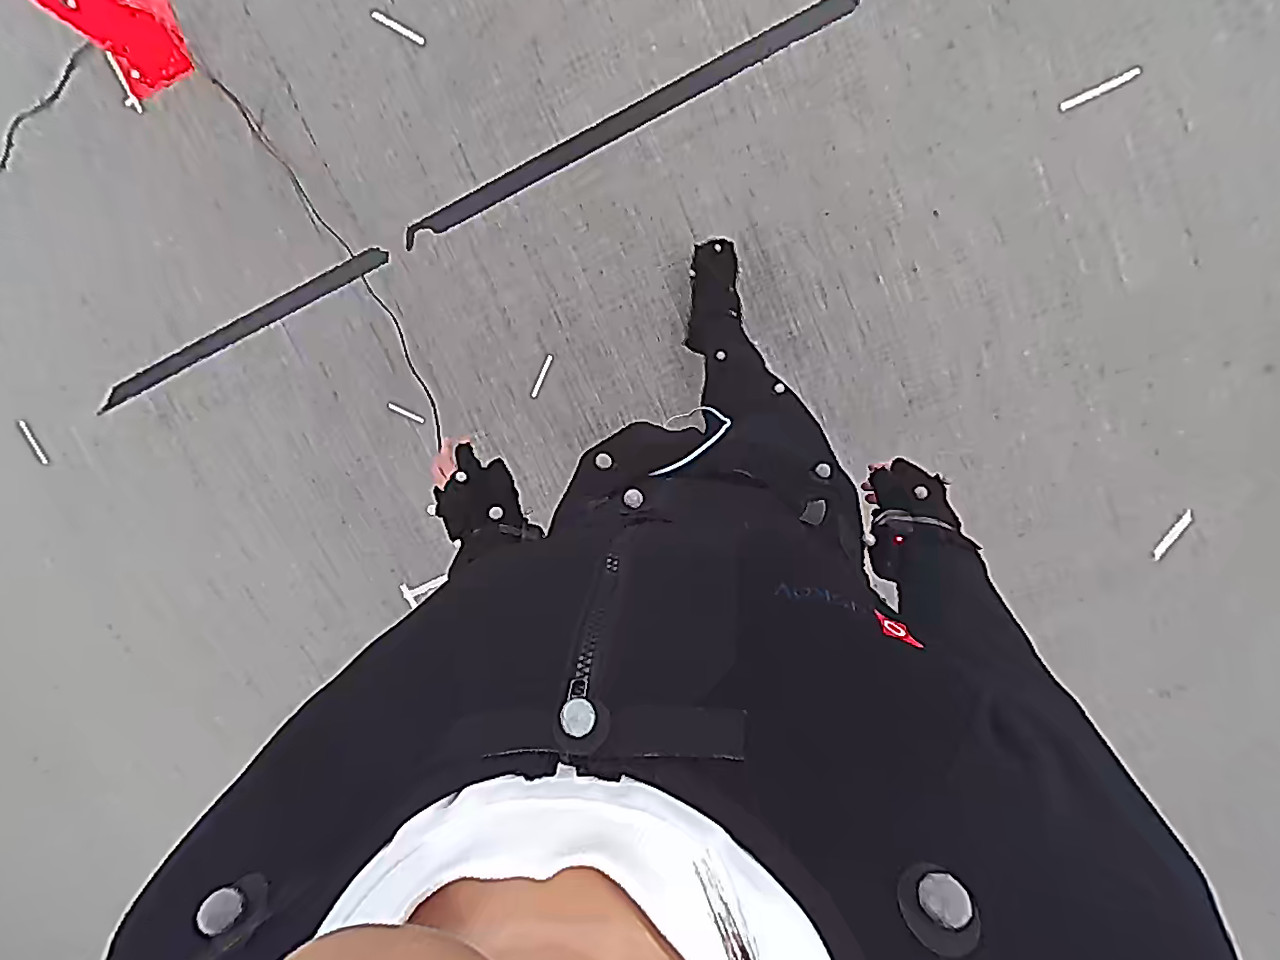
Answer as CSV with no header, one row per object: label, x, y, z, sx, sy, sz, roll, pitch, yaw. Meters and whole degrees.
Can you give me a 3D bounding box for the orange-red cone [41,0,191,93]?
orange-red cone,-1.238,-1.049,1.167,0.199,0.360,0.198,-15,101,9
